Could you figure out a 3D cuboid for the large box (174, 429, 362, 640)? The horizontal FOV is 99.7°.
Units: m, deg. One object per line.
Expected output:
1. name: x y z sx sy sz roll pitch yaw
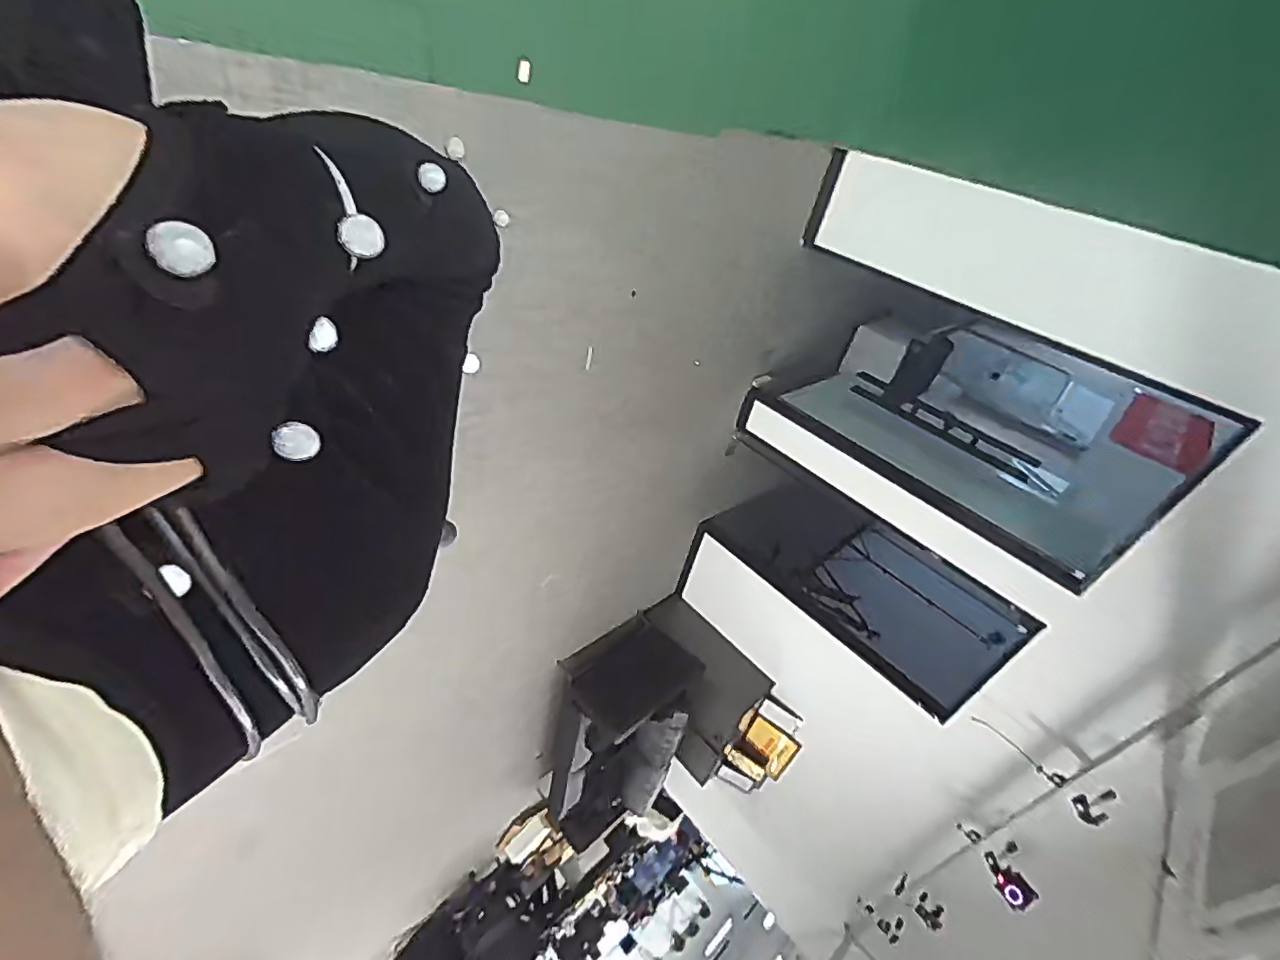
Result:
1. large box: -0.964 0.123 1.405 0.320 0.320 0.408 -12 133 -47
